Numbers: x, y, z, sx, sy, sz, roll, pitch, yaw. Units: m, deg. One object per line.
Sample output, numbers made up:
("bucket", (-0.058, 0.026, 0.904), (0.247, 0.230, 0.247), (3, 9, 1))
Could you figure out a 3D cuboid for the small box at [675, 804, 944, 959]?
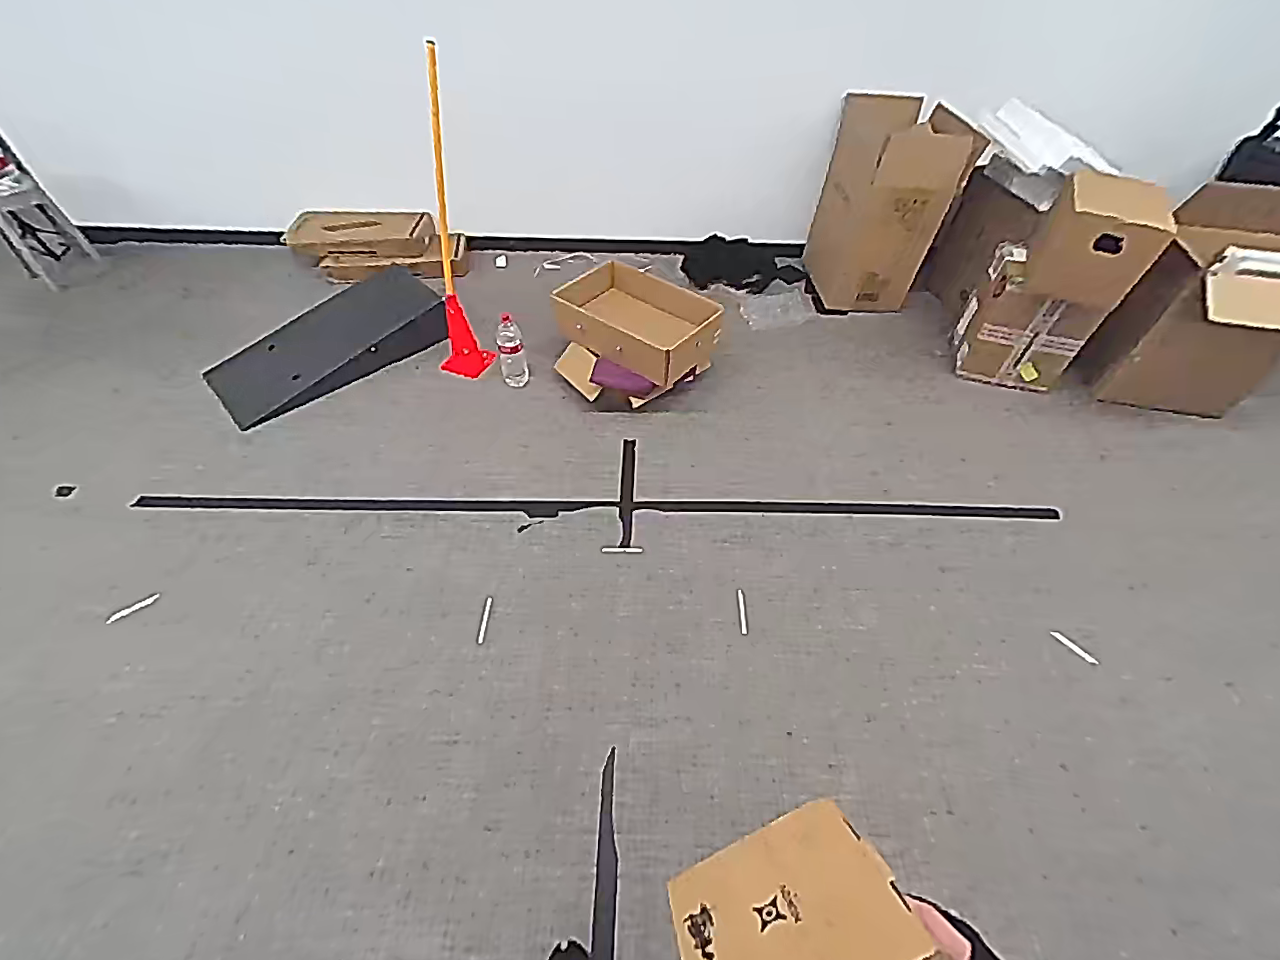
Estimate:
("small box", (0.151, 0.427, 0.448), (0.179, 0.168, 0.176), (-25, 94, -5))
